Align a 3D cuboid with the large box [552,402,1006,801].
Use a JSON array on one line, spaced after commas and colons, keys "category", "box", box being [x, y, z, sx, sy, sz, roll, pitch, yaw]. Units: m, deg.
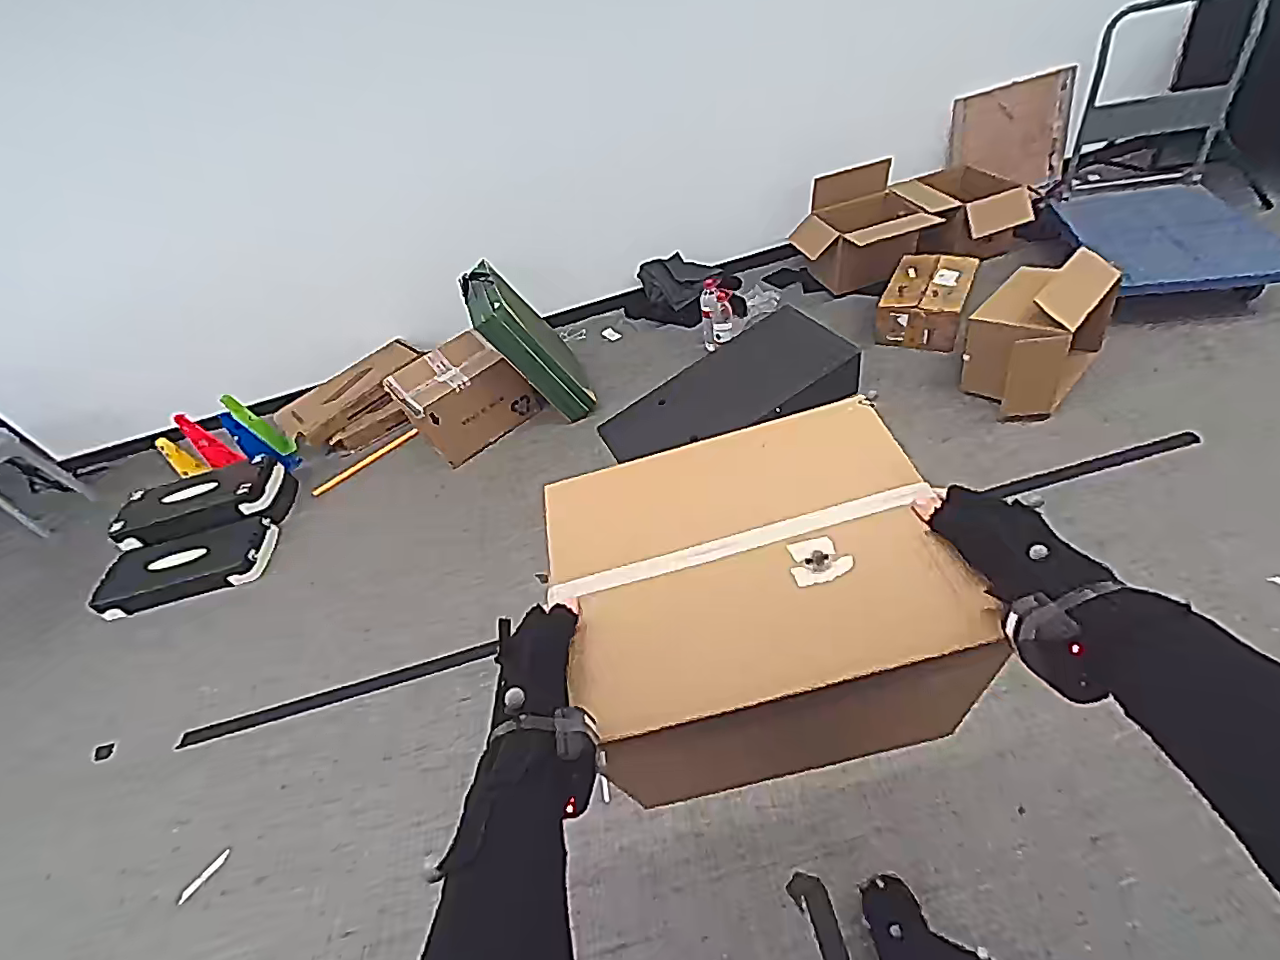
[{"category": "large box", "box": [0.136, 0.162, 0.687, 0.408, 0.320, 0.320, -16, 49, 2]}]
